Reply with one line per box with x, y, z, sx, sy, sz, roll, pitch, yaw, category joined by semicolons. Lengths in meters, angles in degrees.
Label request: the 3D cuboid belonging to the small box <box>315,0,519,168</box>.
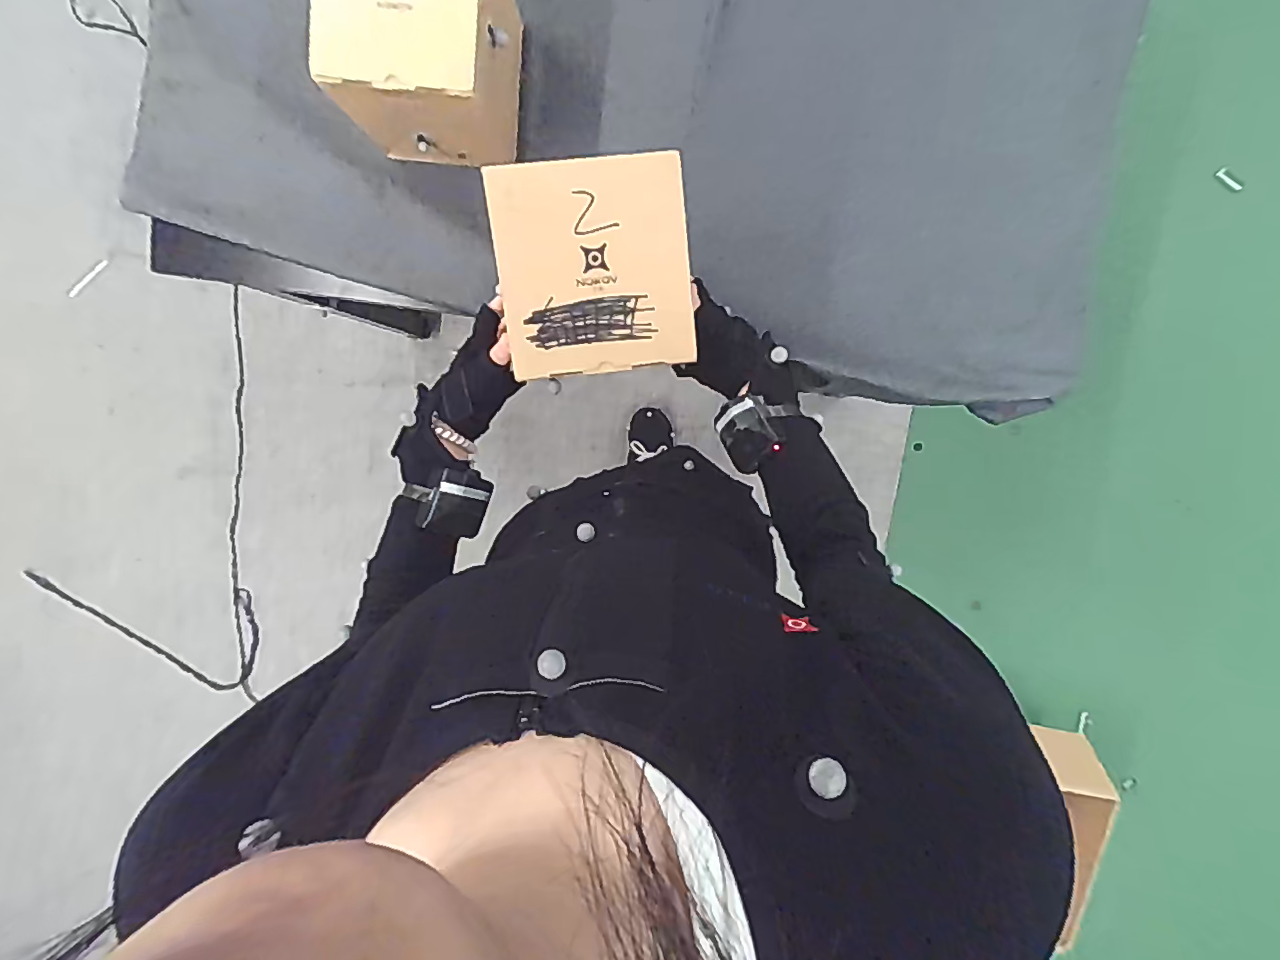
-0.238;-0.490;0.614;0.168;0.176;0.179;5;98;-1;small box
